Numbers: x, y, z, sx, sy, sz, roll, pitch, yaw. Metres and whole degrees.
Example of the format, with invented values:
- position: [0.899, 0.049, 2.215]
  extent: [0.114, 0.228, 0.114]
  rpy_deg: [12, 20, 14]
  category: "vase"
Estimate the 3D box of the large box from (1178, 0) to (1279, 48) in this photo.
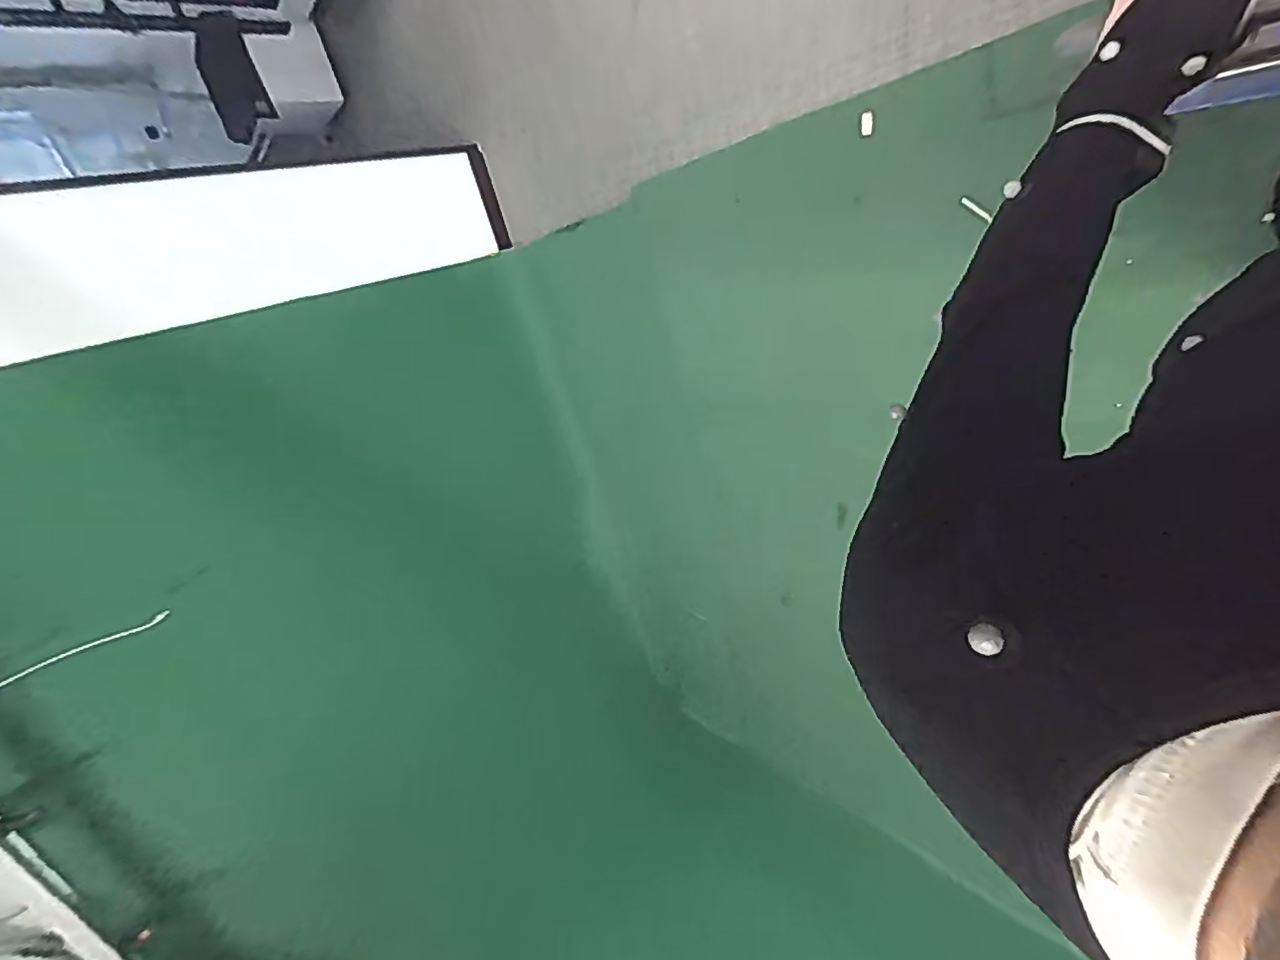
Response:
- position: [0.876, -0.786, 0.602]
  extent: [0.320, 0.320, 0.408]
  rpy_deg: [17, 125, 43]
  category: "large box"
